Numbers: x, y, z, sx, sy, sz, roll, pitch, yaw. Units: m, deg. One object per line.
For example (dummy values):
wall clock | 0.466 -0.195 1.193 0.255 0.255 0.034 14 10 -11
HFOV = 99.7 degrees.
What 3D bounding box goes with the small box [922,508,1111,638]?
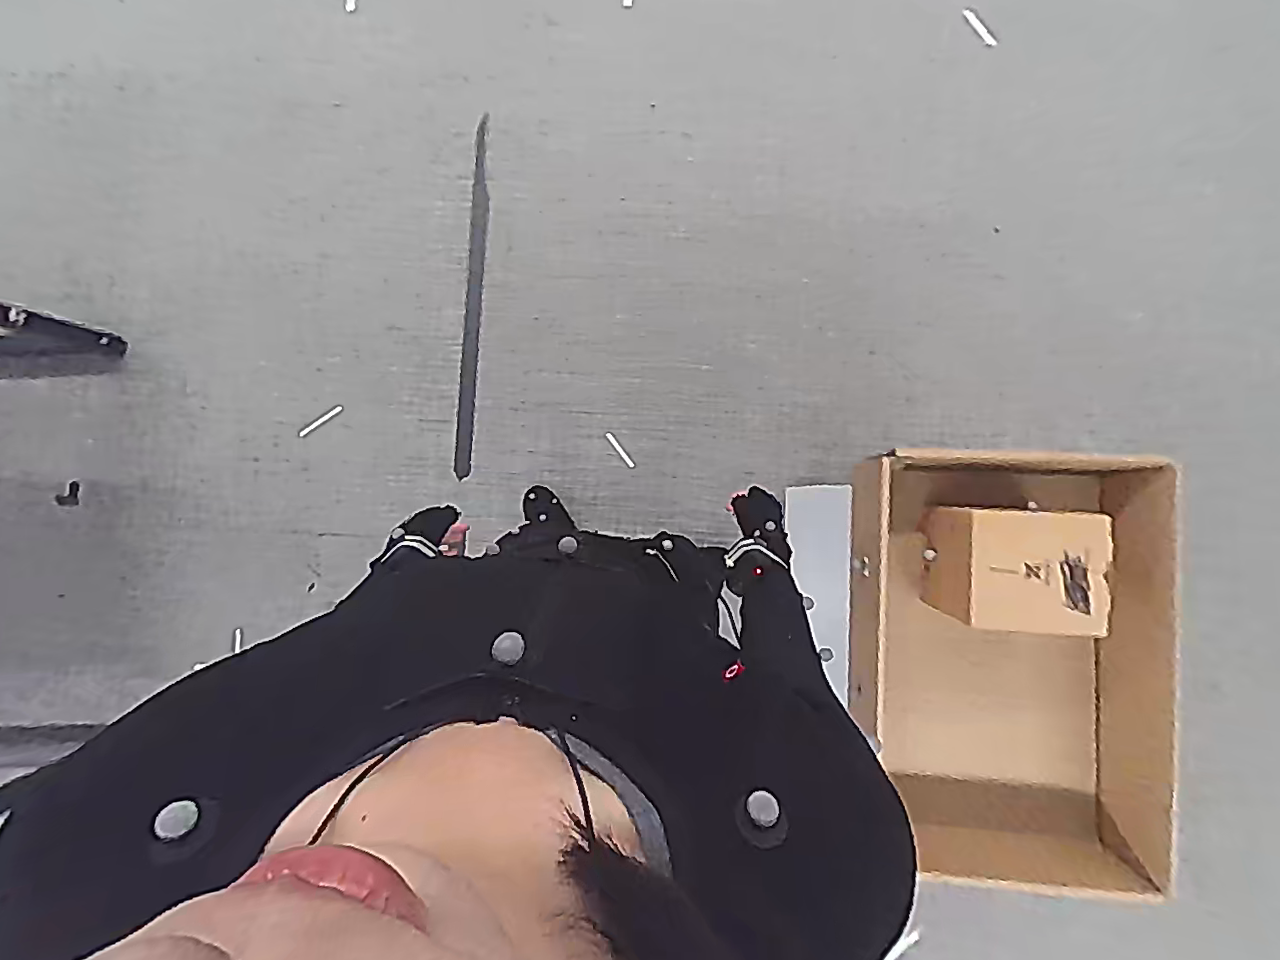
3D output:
small box | 0.555 0.130 0.816 0.179 0.176 0.168 2 89 7
